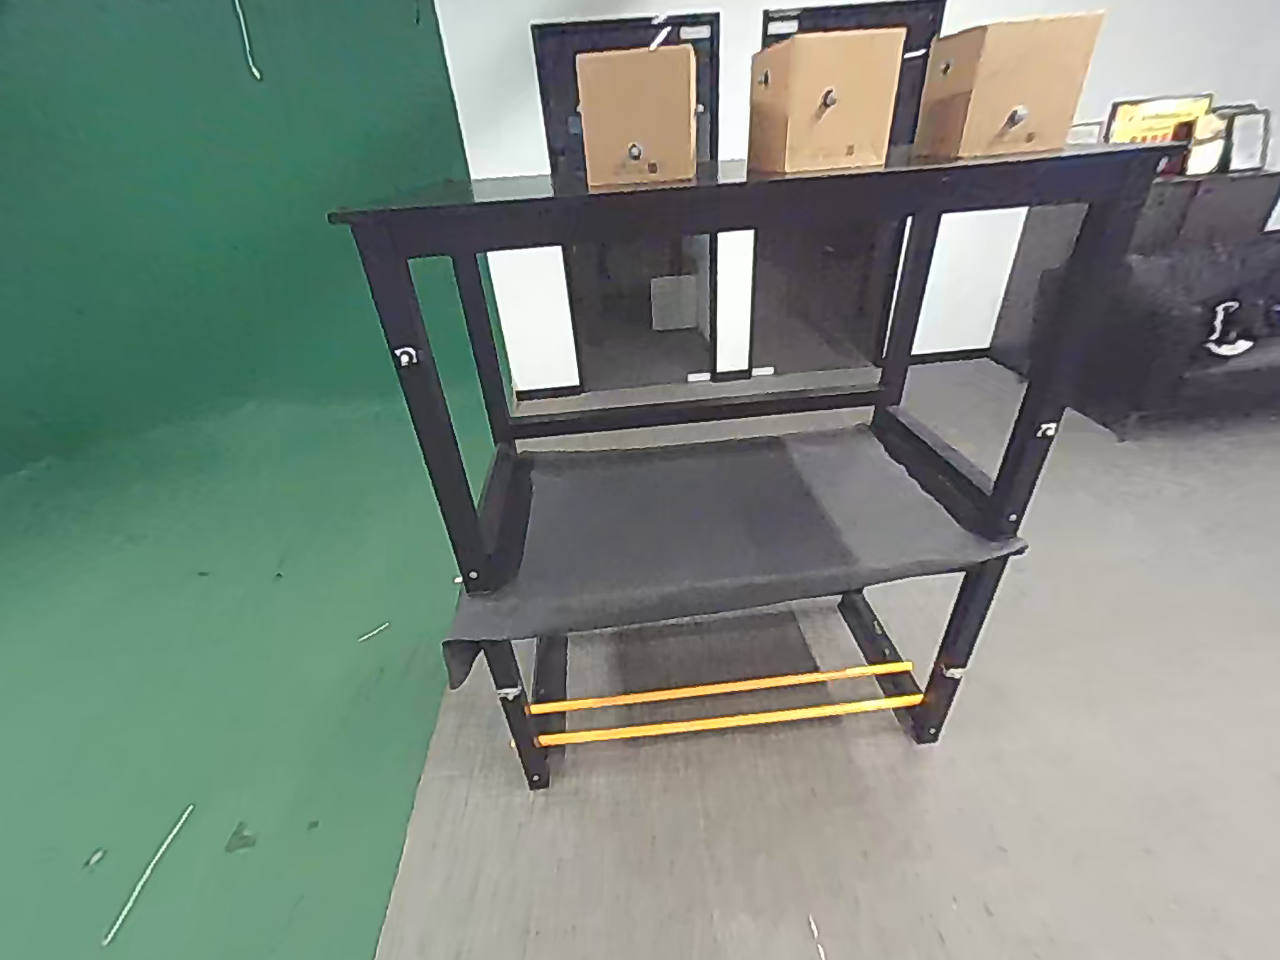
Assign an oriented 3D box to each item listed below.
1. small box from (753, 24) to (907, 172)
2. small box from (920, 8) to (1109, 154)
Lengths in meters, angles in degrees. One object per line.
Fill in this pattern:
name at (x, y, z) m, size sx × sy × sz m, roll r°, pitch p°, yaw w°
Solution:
small box at (0.284, -0.590, 0.851) m, size 0.168 × 0.176 × 0.179 m, roll -8°, pitch 32°, yaw -6°
small box at (0.576, -0.624, 0.864) m, size 0.168 × 0.176 × 0.179 m, roll -3°, pitch 33°, yaw 3°
